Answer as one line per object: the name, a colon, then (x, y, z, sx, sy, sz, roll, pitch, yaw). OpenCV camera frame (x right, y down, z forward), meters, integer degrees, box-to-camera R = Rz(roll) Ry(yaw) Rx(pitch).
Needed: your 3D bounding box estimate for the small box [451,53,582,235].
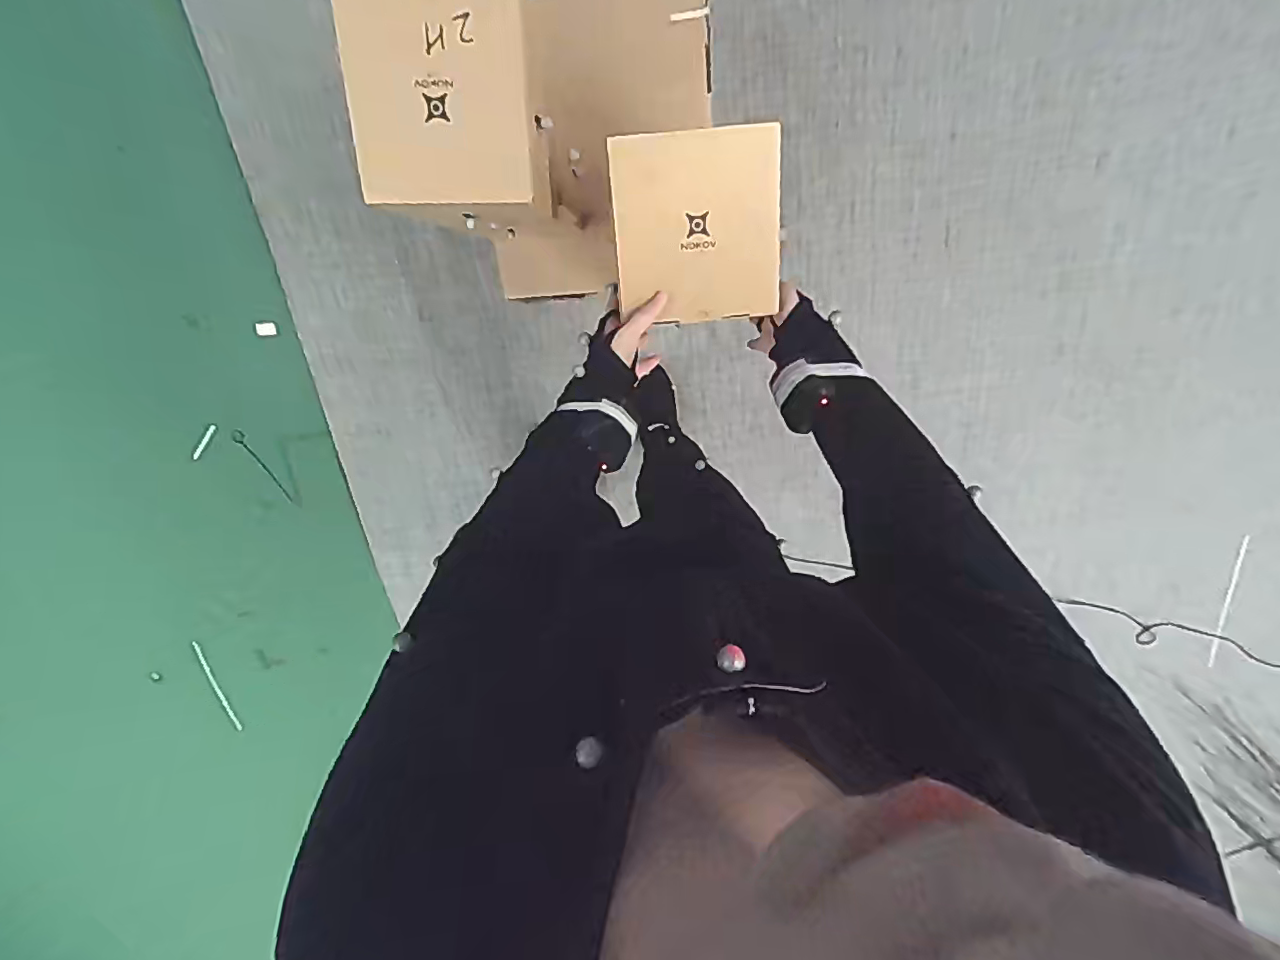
small box: (-0.185, -0.430, 0.720, 0.179, 0.176, 0.168, -5, 110, 4)

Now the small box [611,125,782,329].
small box: (0.056, -0.272, 0.609, 0.168, 0.176, 0.179, -5, 111, 0)

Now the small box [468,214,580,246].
small box: (-0.194, -0.489, 0.876, 0.168, 0.176, 0.179, -5, 109, 2)

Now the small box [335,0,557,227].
small box: (-0.182, -0.369, 0.569, 0.168, 0.176, 0.179, 0, 110, -1)
